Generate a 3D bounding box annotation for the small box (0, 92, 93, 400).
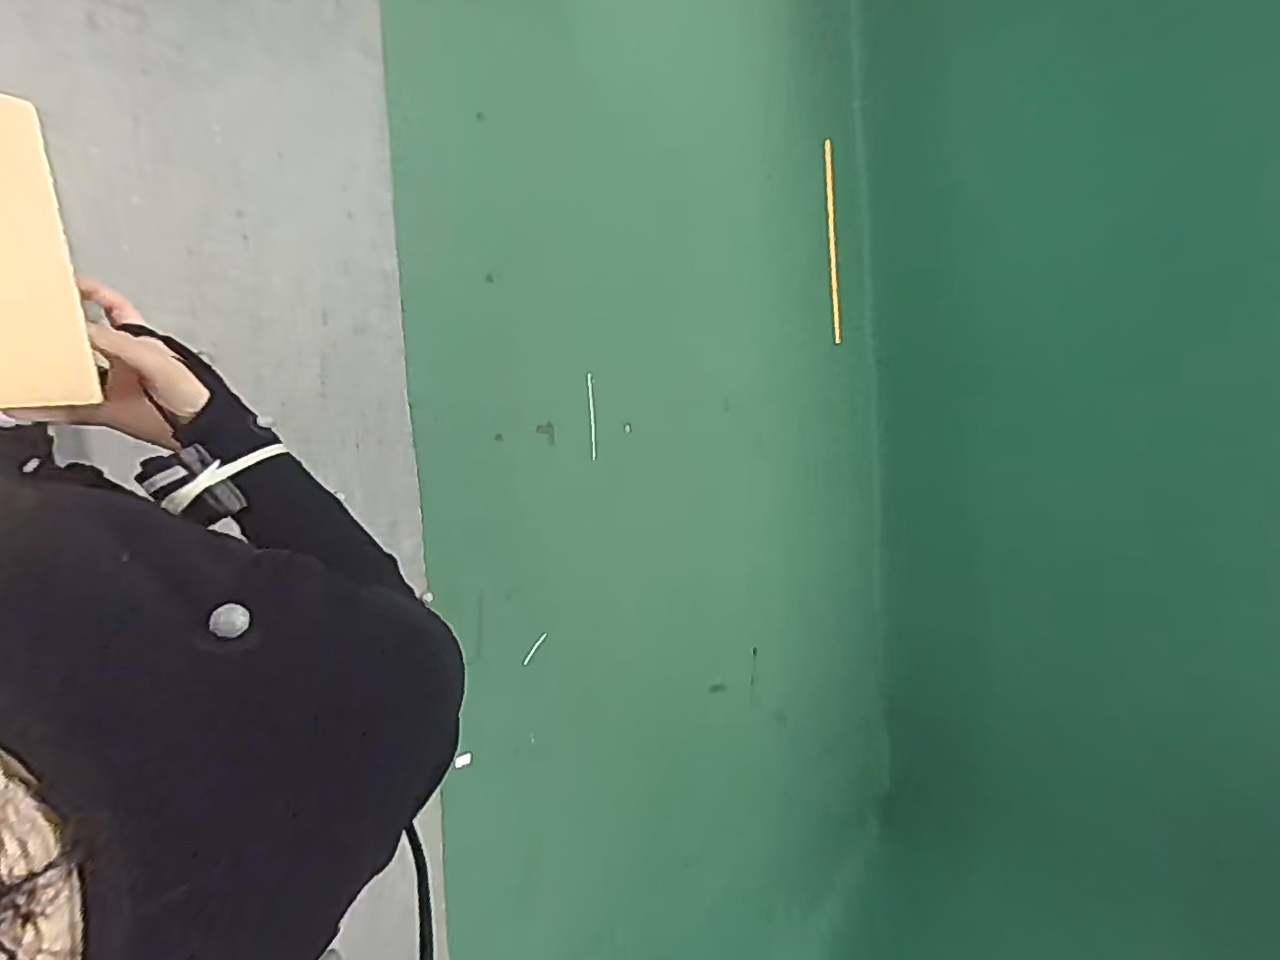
[{"bbox_3d":[-0.451,-0.129,0.301,0.179,0.176,0.168,-13,107,-48],"label":"small box"}]
